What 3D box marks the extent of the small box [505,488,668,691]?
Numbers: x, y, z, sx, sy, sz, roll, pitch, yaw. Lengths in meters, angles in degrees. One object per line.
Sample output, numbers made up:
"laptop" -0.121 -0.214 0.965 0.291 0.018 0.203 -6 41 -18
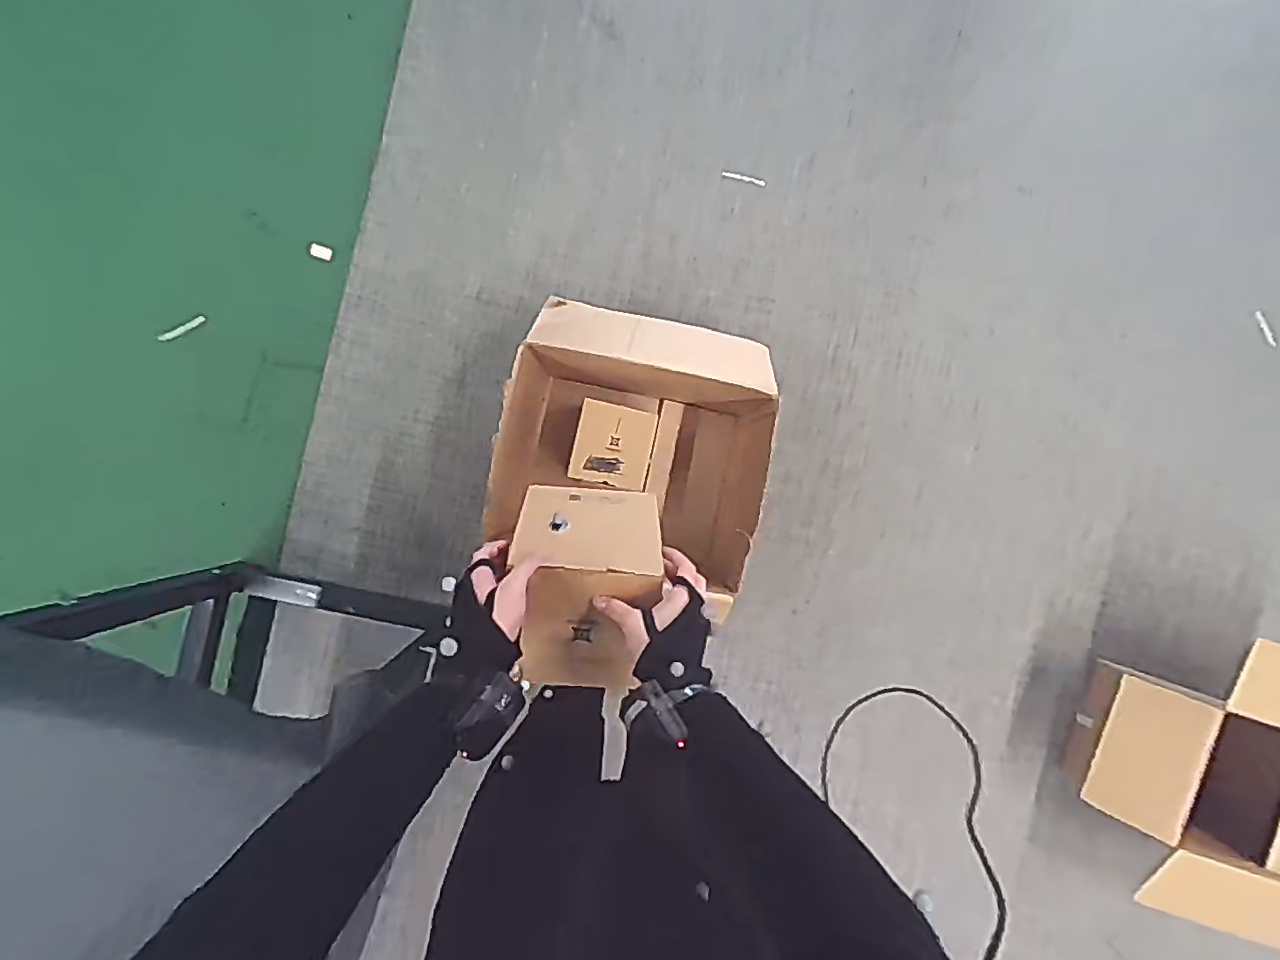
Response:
"small box" -0.065 0.126 0.657 0.168 0.176 0.179 6 118 -4
